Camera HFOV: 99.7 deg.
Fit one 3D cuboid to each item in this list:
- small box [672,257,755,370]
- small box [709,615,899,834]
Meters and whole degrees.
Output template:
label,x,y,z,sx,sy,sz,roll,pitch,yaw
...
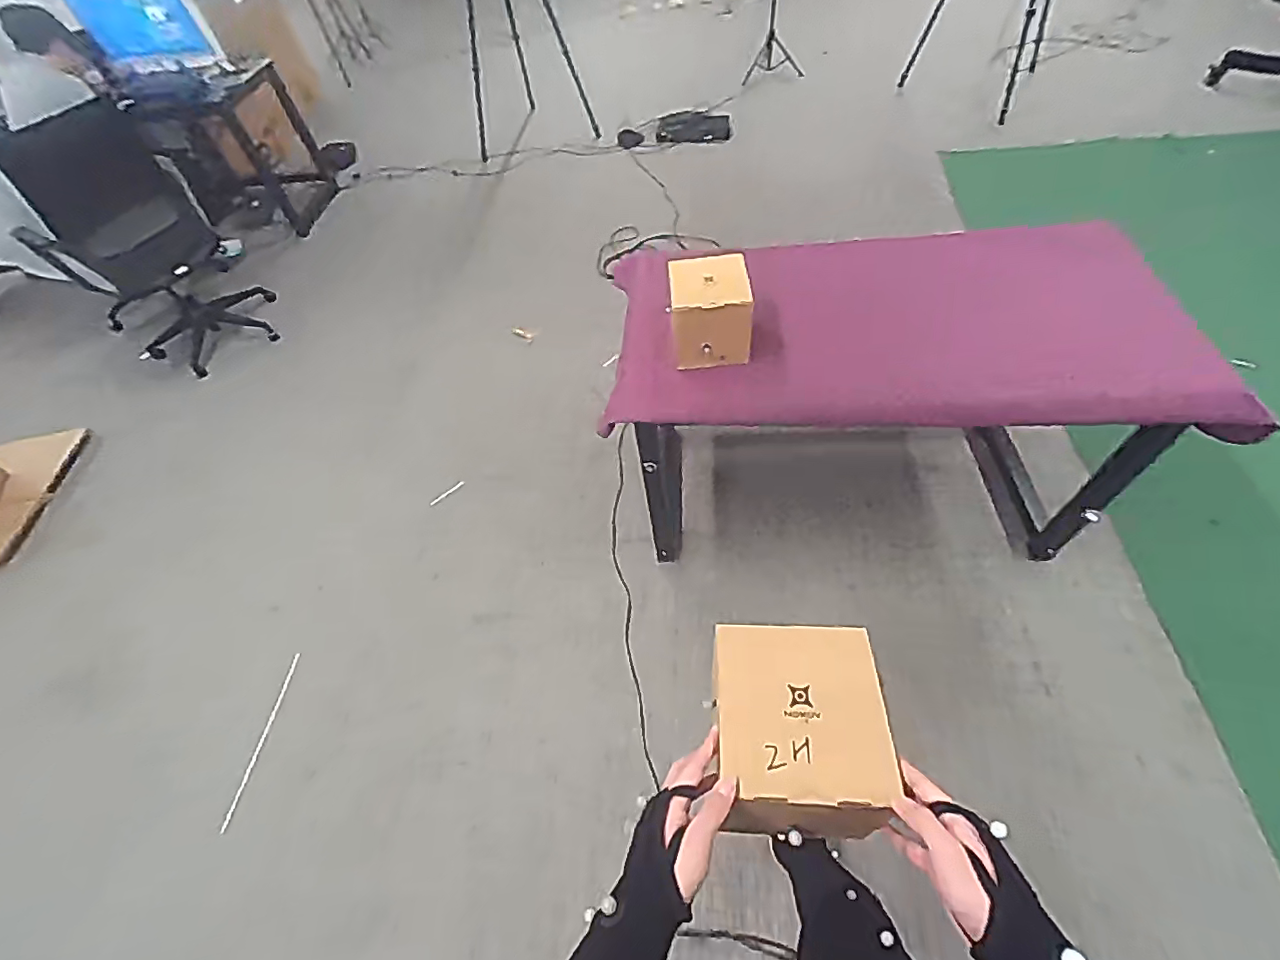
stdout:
label,x,y,z,sx,sy,sz,roll,pitch,yaw
small box,0.160,-0.371,1.216,0.168,0.176,0.179,-4,54,4
small box,0.162,0.271,0.603,0.168,0.176,0.179,0,48,6
